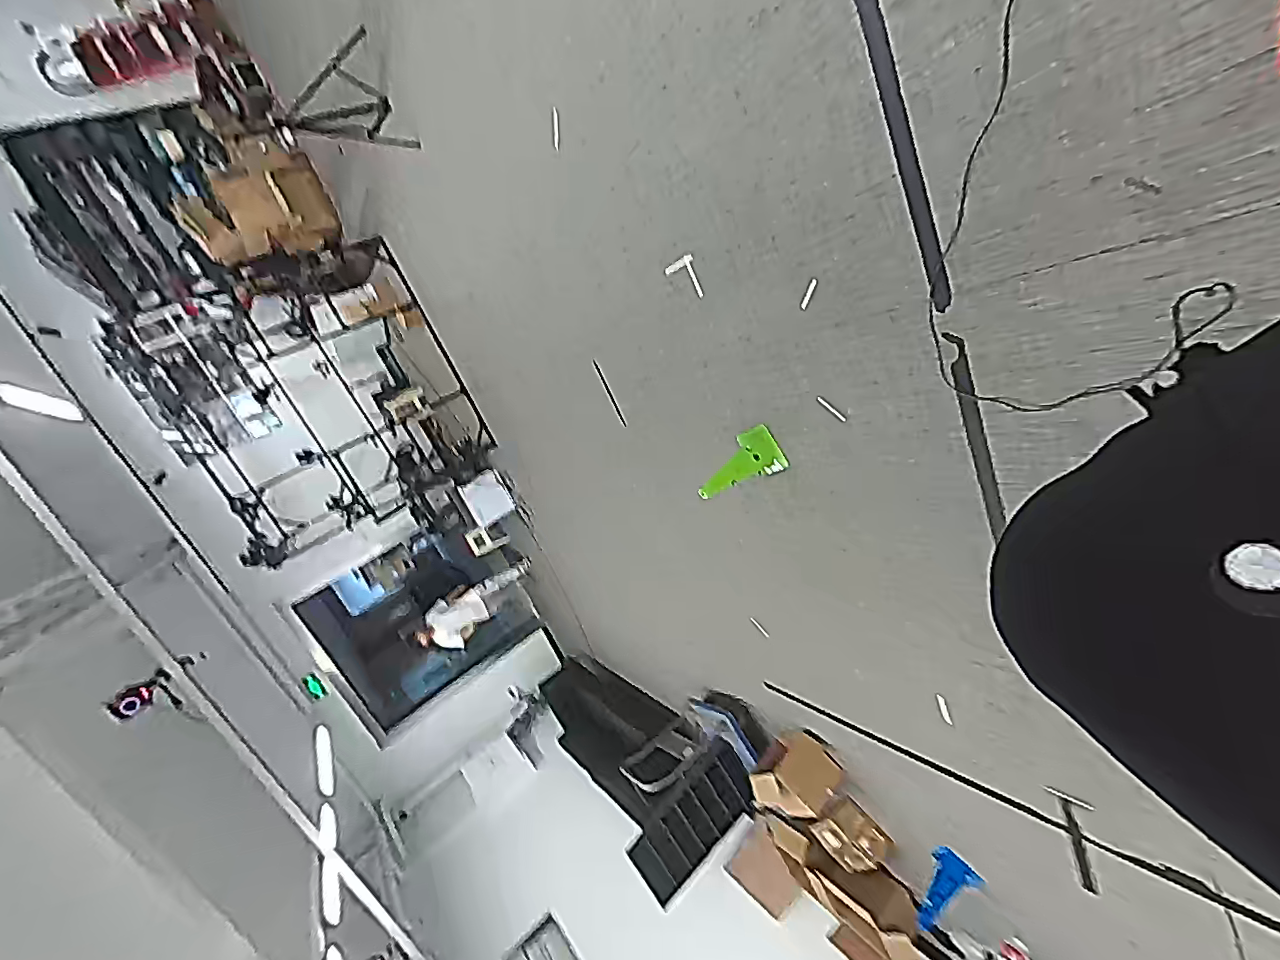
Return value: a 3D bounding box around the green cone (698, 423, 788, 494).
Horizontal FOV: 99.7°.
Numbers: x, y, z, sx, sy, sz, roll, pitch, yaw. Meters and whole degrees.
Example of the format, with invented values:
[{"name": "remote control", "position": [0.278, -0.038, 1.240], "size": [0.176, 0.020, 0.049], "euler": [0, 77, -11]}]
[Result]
[{"name": "green cone", "position": [0.376, -0.044, 2.147], "size": [0.202, 0.368, 0.200], "euler": [58, 153, -2]}]
